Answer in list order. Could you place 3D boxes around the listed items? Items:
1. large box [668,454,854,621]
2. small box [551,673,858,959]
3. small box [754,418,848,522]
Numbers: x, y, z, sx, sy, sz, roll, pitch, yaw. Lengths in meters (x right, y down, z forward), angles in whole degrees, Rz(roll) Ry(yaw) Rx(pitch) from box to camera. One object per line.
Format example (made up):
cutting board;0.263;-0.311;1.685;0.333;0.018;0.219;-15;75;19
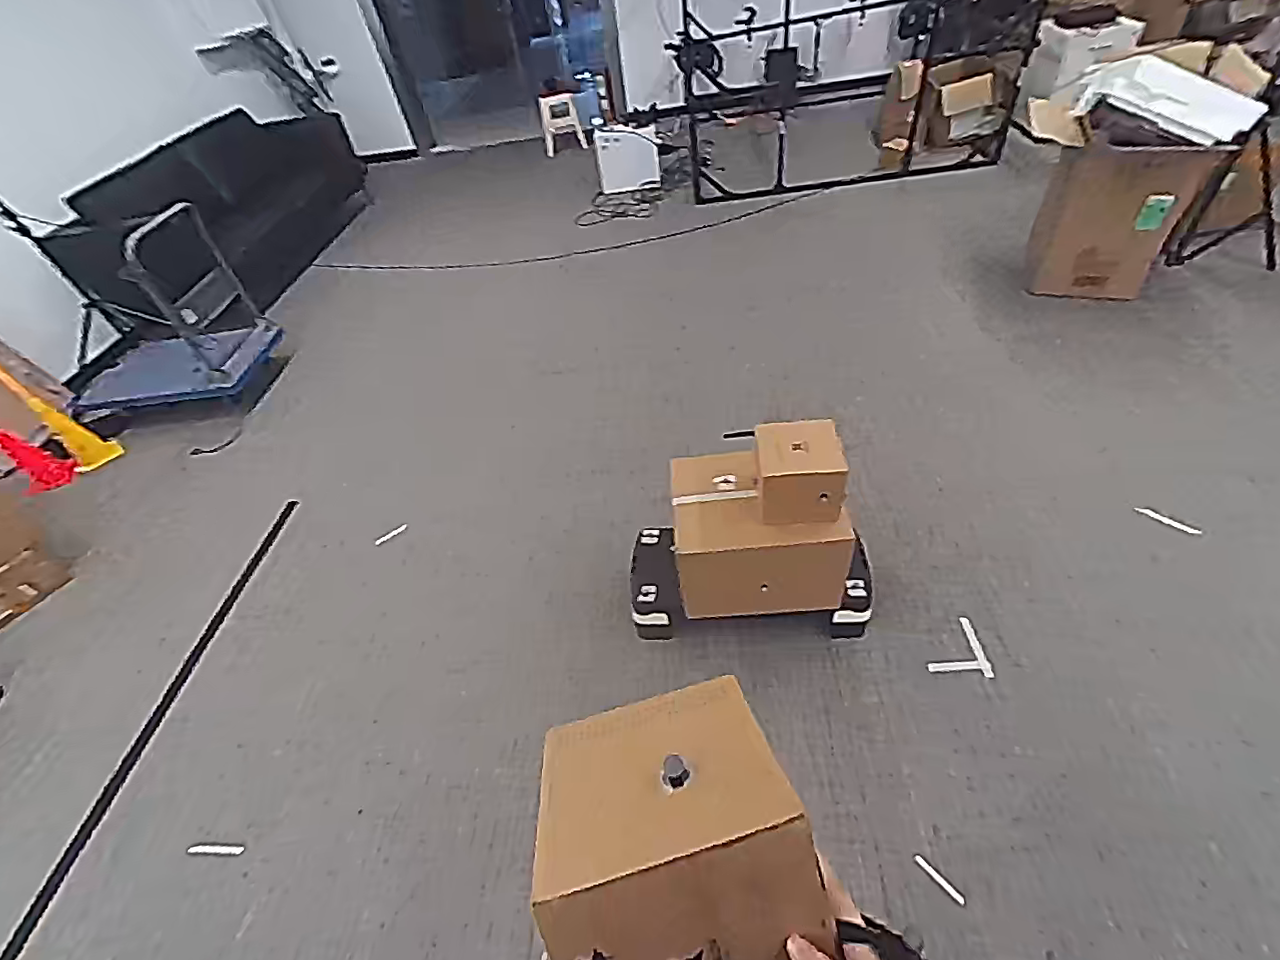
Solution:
large box;0.299;0.145;1.416;0.408;0.320;0.320;-7;45;6
small box;0.037;0.277;0.415;0.179;0.168;0.176;-16;11;-4
small box;0.353;-0.019;1.219;0.179;0.176;0.168;-4;47;8
